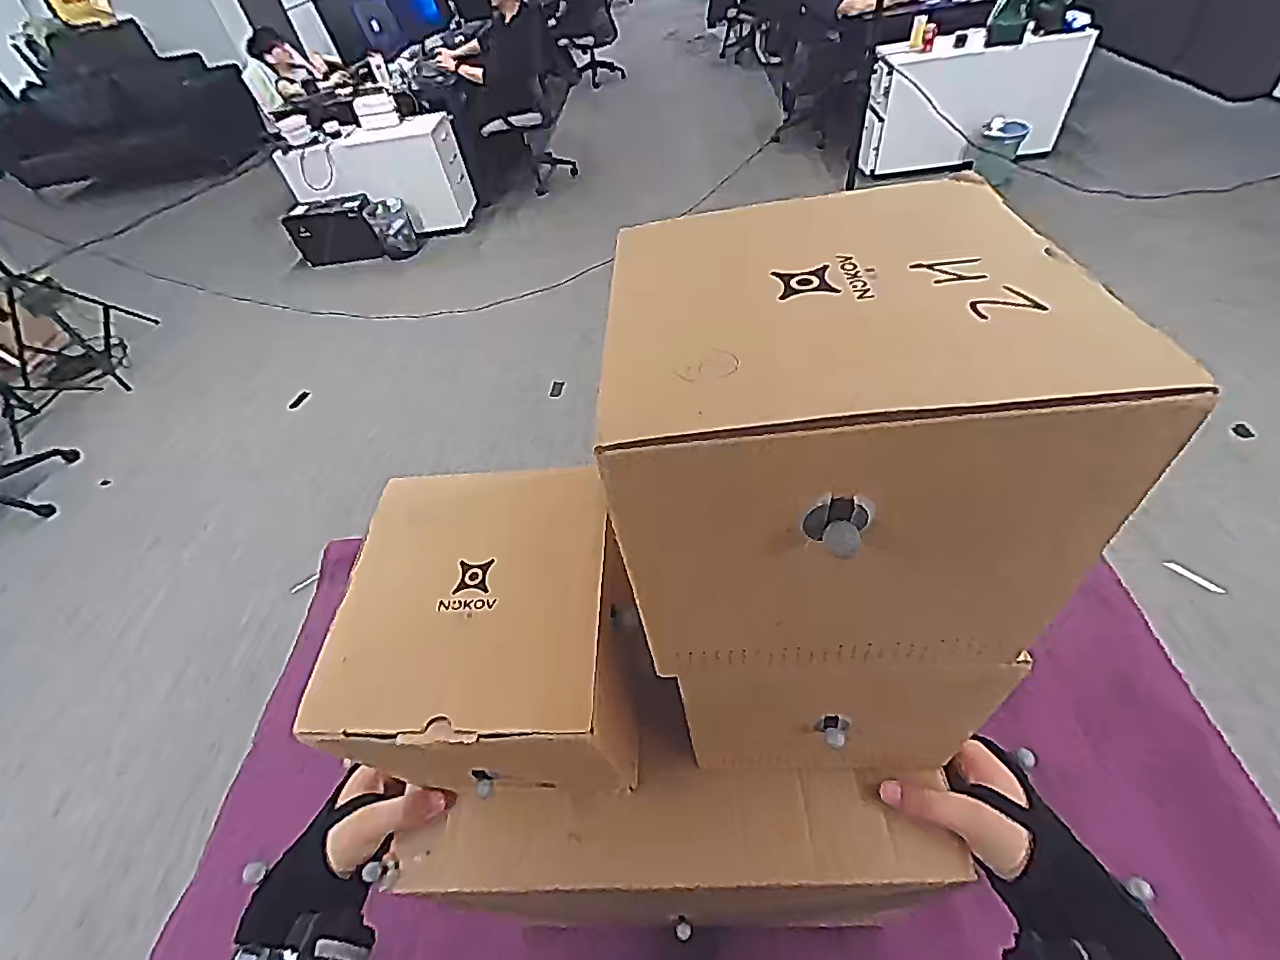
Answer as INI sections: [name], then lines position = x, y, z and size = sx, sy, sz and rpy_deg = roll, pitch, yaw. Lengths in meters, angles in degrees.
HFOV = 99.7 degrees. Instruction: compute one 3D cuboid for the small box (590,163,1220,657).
[small box]
position = 0.085, -0.026, 0.264
size = 0.179, 0.176, 0.168
rpy_deg = -5, 47, 7
